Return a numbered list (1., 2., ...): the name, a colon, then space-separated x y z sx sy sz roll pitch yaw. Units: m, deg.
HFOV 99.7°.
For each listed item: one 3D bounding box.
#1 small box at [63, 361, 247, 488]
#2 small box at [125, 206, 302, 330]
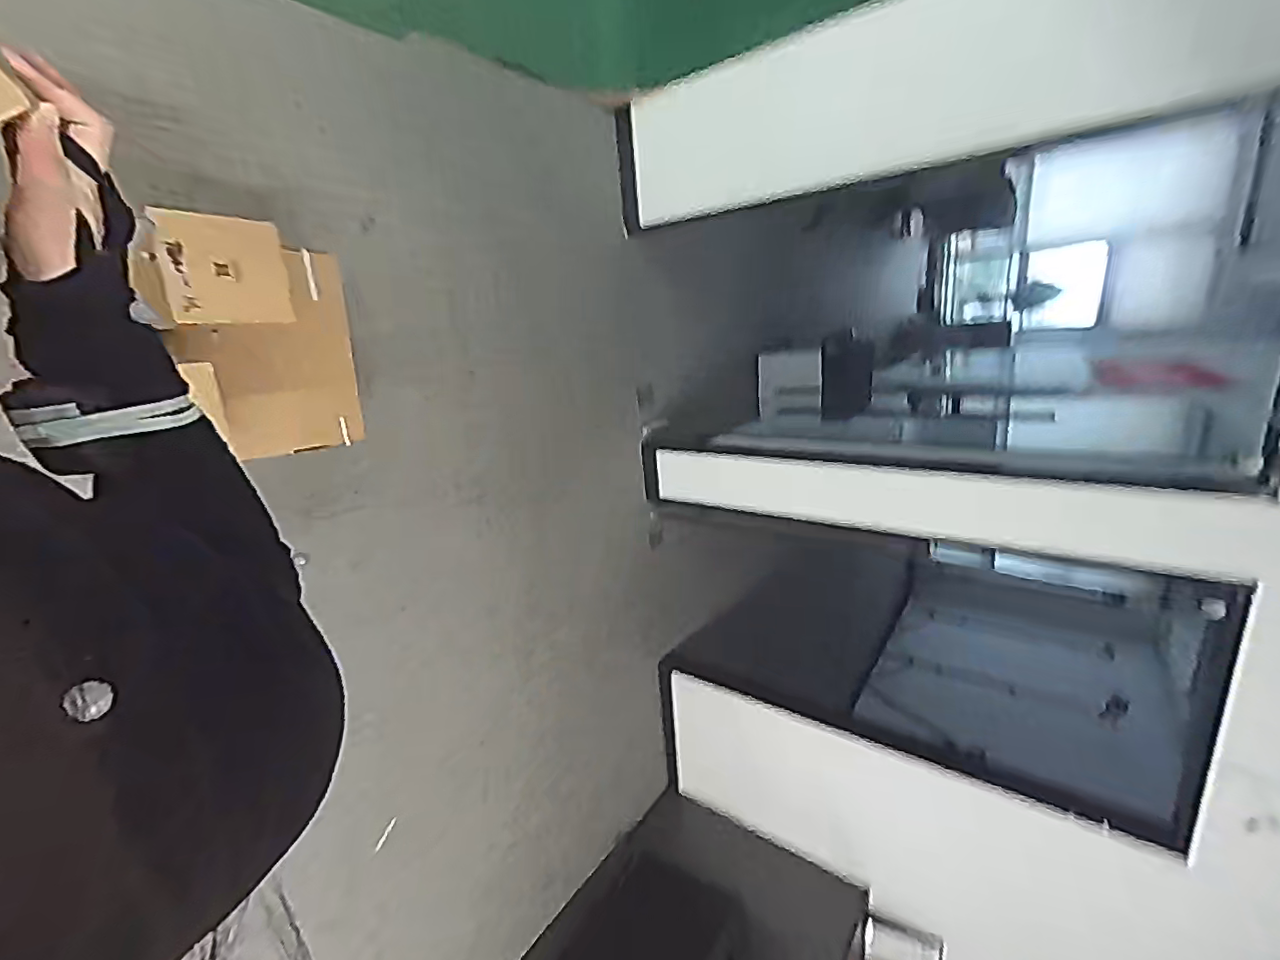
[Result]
1. small box: -0.777 -0.098 0.871 0.168 0.176 0.179 -24 115 -51
2. small box: -0.716 -0.347 0.915 0.179 0.176 0.168 -21 112 -52
